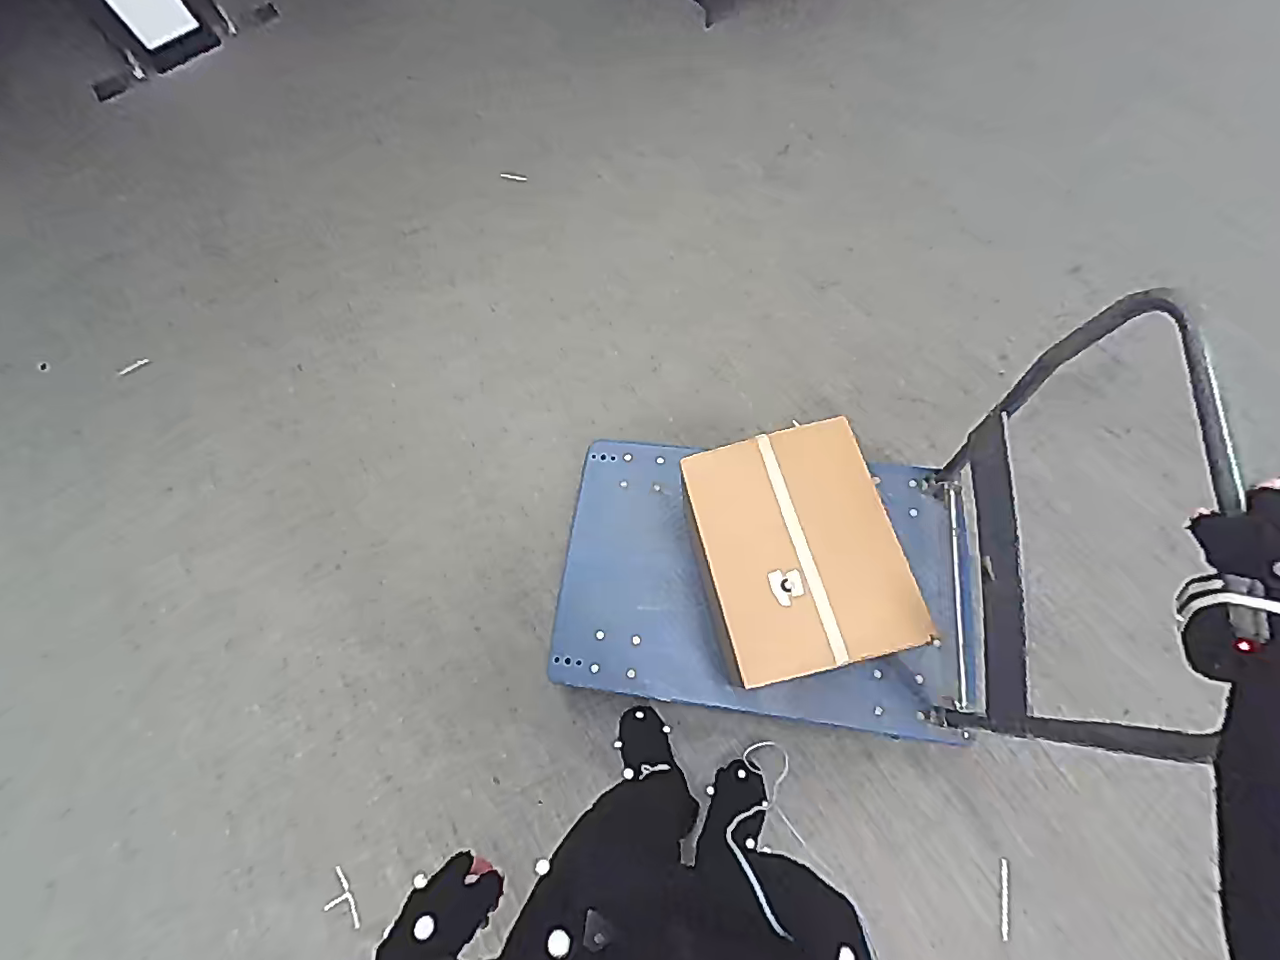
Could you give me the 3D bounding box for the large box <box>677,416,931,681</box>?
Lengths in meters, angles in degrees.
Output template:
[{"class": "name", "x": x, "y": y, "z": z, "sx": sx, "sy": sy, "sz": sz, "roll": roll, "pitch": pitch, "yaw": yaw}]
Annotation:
[{"class": "large box", "x": 0.277, "y": 0.147, "z": 1.061, "sx": 0.320, "sy": 0.320, "sz": 0.408, "roll": -16, "pitch": 70, "yaw": 1}]
